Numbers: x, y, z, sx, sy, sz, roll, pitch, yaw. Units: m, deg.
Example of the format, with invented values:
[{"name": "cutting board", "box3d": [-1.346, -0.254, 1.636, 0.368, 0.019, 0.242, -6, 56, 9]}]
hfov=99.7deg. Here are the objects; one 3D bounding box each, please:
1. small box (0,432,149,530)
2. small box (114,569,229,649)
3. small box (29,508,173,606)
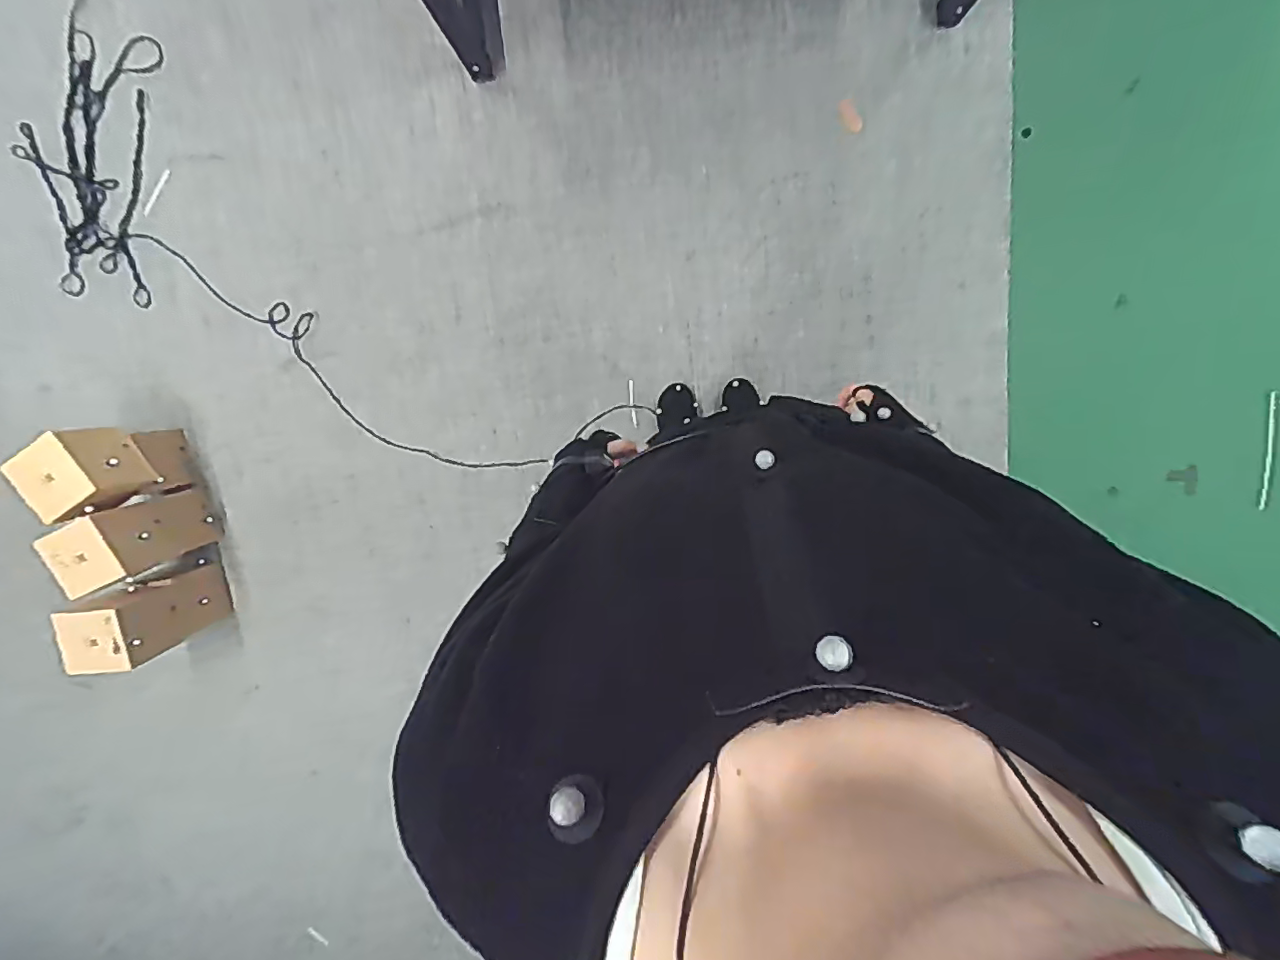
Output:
[{"name": "small box", "box3d": [-1.376, -0.005, 1.332, 0.179, 0.176, 0.168, -31, 97, 9]}, {"name": "small box", "box3d": [-1.343, 0.366, 1.562, 0.168, 0.176, 0.179, -6, 100, 5]}, {"name": "small box", "box3d": [-1.341, 0.186, 1.366, 0.179, 0.176, 0.168, -23, 98, 7]}]
